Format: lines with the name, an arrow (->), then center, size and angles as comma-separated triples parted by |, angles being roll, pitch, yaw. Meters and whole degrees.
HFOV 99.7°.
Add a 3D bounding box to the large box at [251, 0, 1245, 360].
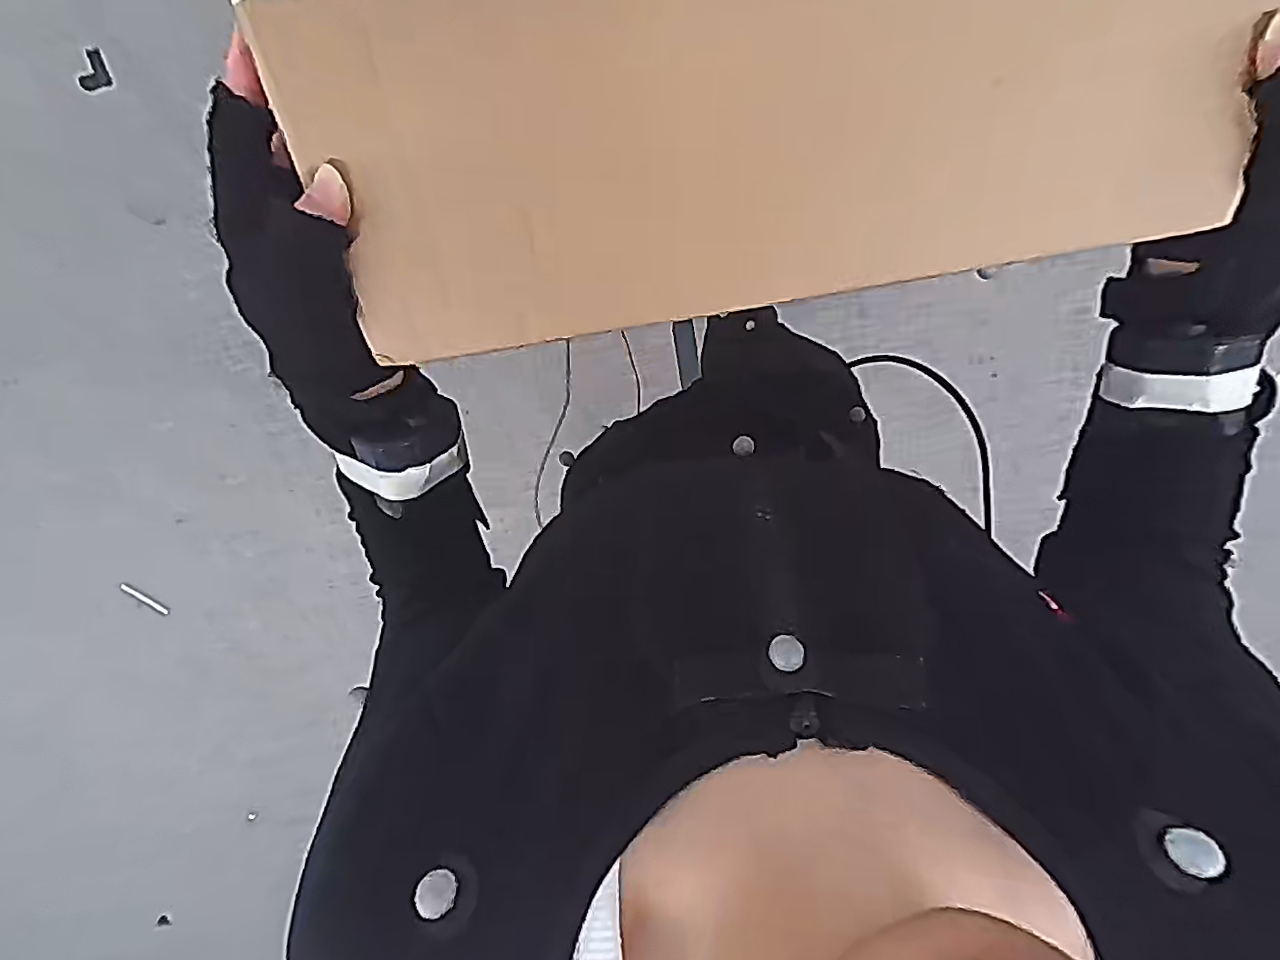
large box -> 0.038, -0.297, 0.332 | 0.408, 0.320, 0.320 | -9, 116, 4
